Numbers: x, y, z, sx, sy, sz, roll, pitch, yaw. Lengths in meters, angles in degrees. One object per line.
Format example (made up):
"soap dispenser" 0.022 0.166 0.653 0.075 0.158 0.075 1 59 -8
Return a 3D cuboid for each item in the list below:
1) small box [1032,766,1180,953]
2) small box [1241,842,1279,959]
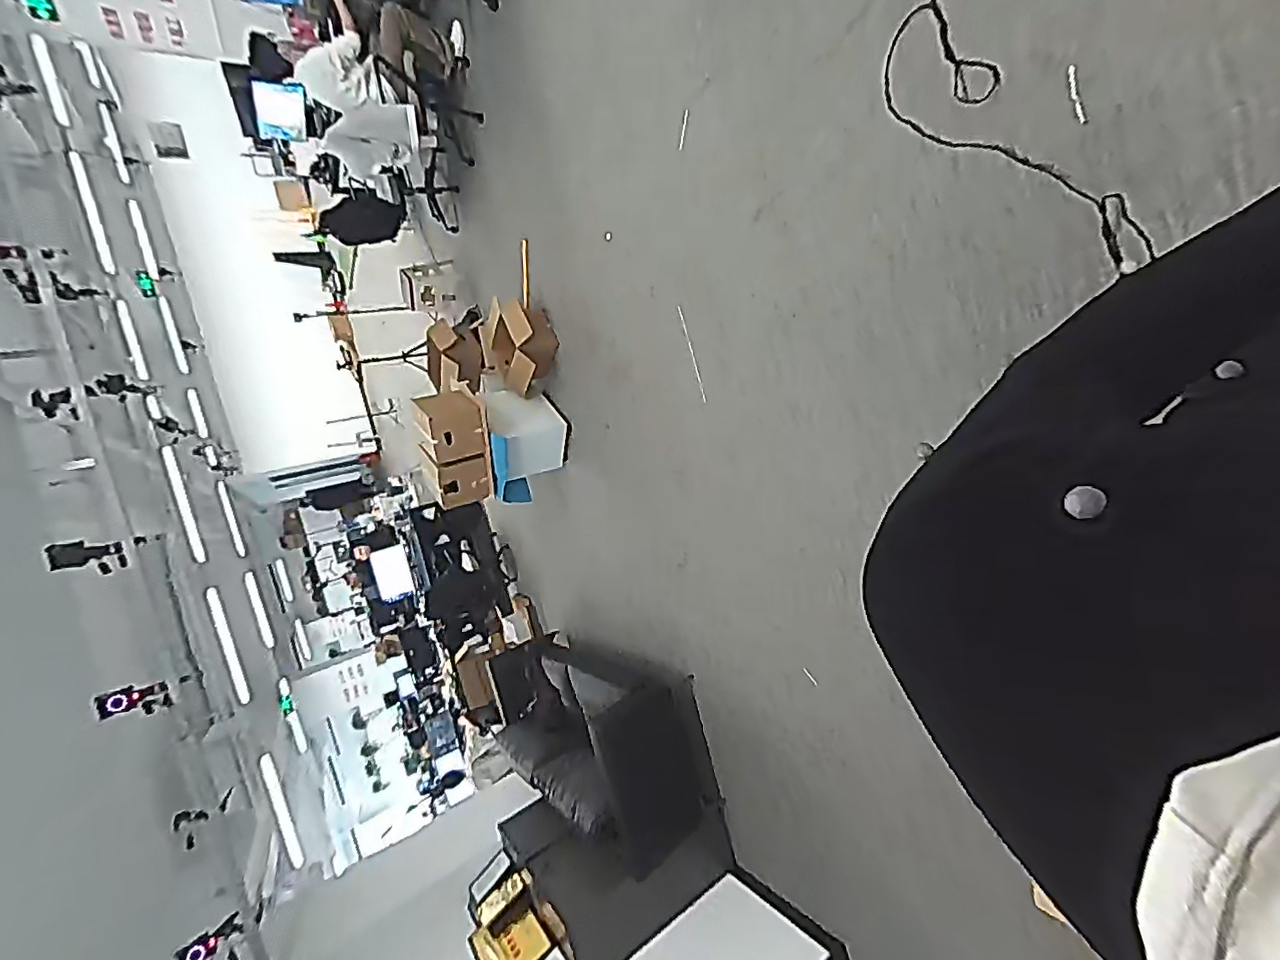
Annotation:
"small box" 0.840 0.668 0.974 0.168 0.176 0.179 5 109 56
"small box" 0.983 0.666 0.753 0.168 0.176 0.179 -3 103 57
